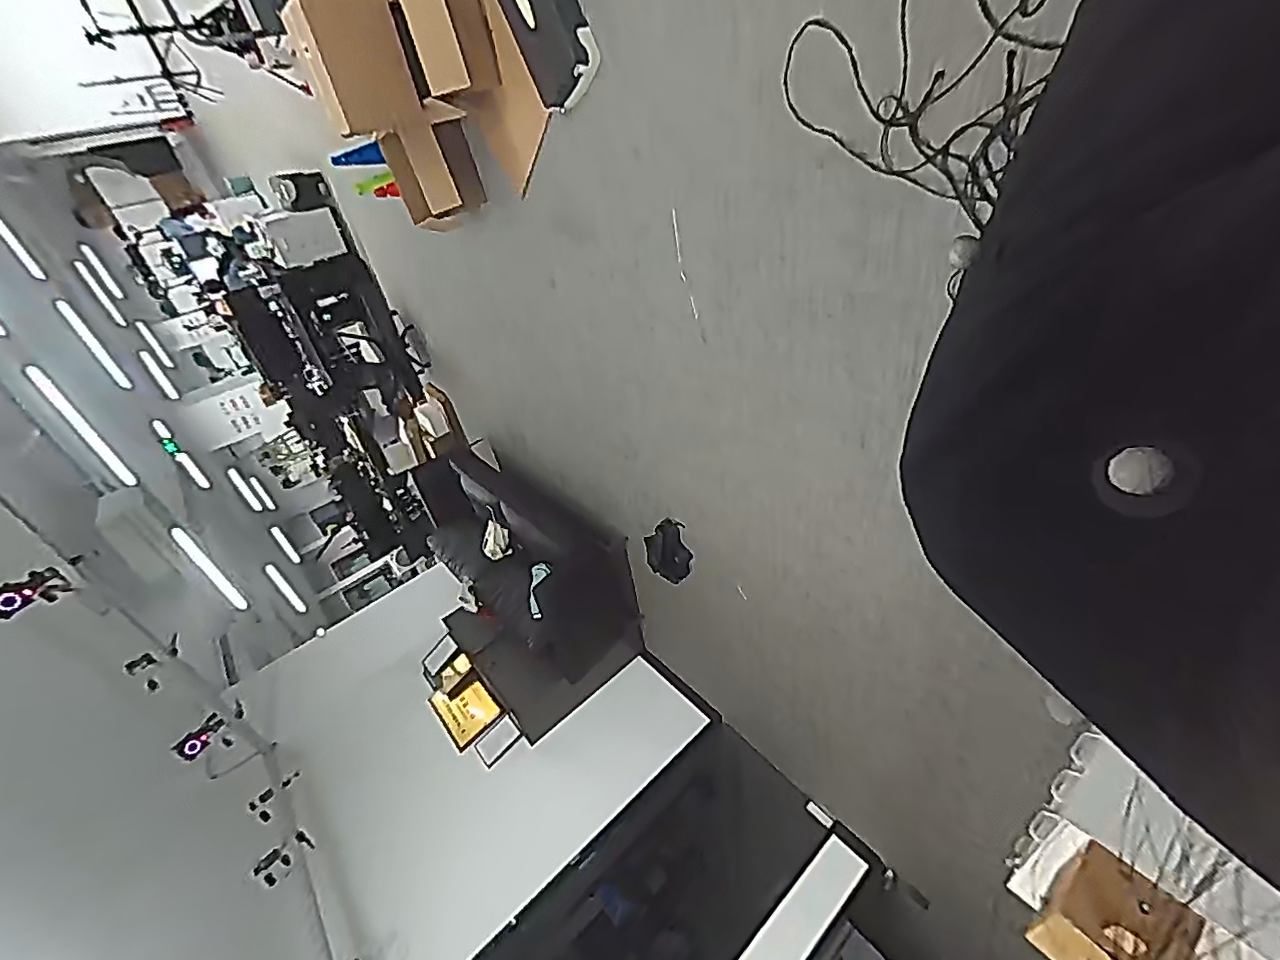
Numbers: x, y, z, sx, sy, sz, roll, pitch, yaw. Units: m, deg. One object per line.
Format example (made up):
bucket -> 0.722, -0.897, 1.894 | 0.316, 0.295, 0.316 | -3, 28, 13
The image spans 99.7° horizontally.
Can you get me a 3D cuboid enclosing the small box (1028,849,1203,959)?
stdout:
small box -> 0.843, 0.814, 0.965 | 0.168, 0.176, 0.179 | 33, 144, 40
